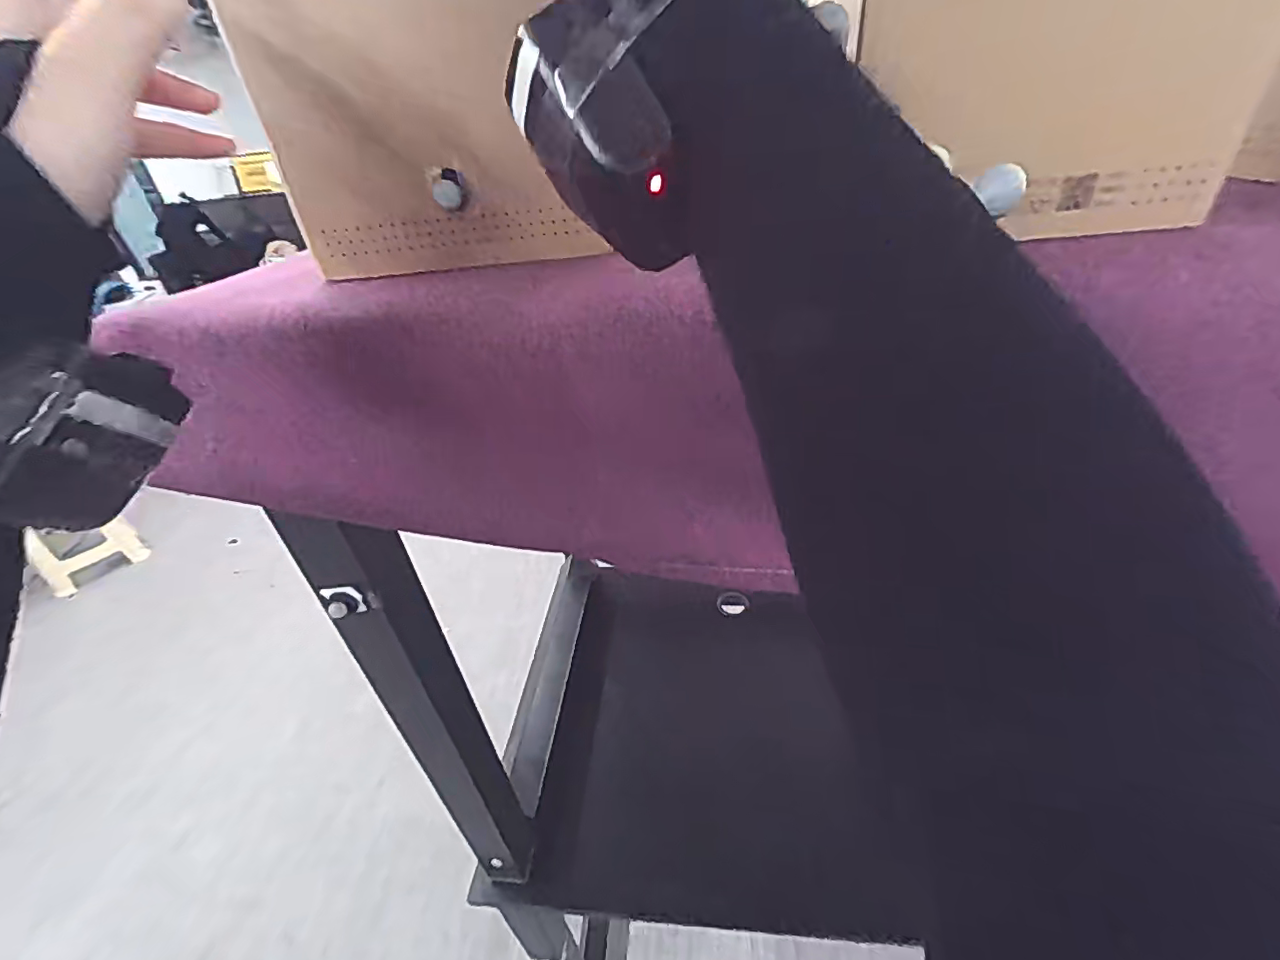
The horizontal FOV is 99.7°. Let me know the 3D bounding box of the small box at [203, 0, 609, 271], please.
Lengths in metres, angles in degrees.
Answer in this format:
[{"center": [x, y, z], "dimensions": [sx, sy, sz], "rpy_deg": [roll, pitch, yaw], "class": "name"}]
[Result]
[{"center": [-0.110, -0.235, 0.325], "dimensions": [0.179, 0.176, 0.168], "rpy_deg": [-6, 34, -1], "class": "small box"}]
